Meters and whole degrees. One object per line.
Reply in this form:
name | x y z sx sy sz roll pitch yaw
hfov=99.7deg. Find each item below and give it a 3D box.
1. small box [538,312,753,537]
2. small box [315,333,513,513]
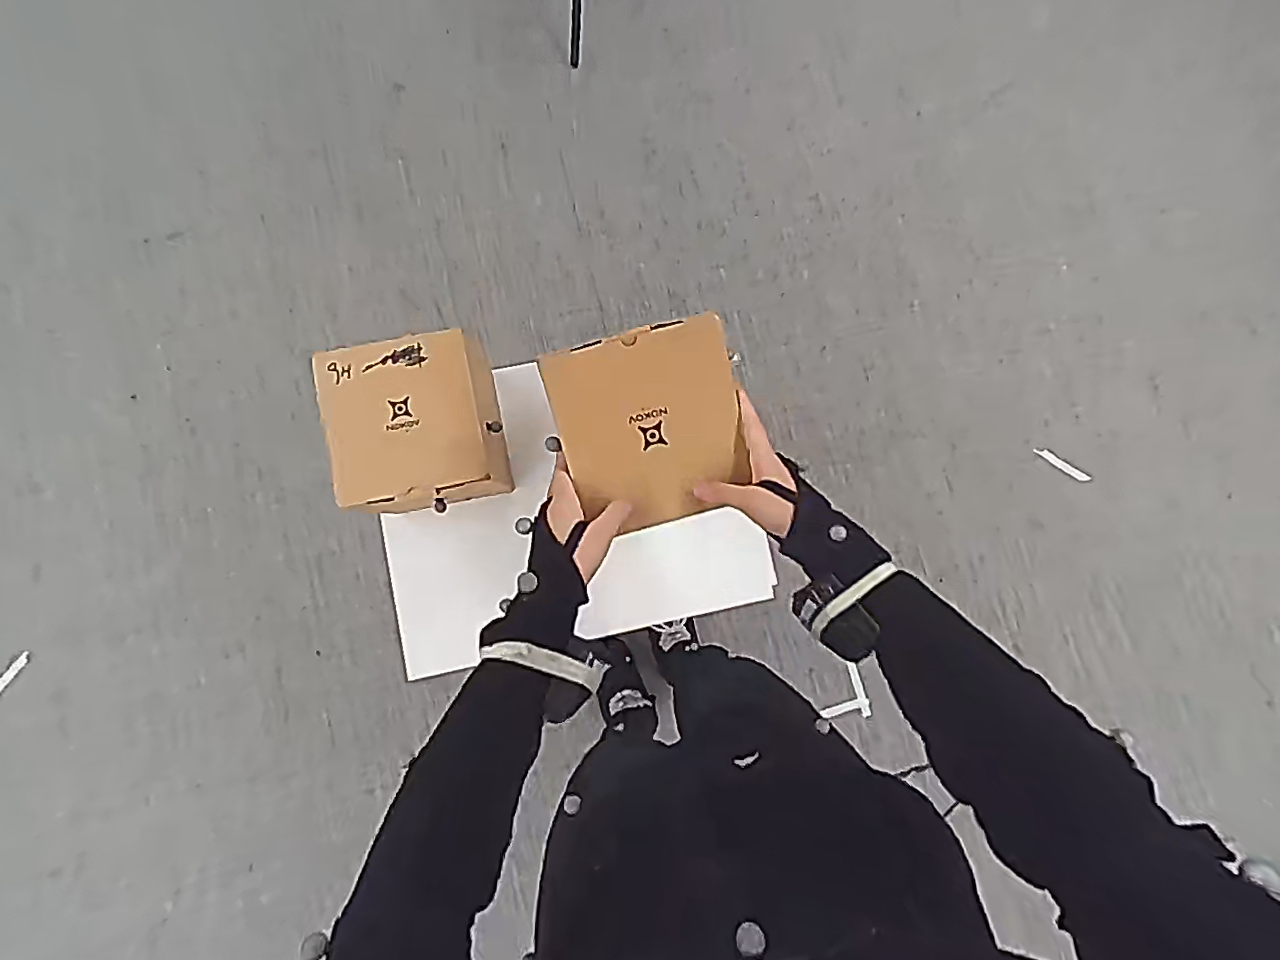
small box | 0.003 -0.061 0.572 0.168 0.176 0.179 -16 99 -2
small box | -0.263 -0.060 0.670 0.168 0.176 0.179 -12 87 -5
